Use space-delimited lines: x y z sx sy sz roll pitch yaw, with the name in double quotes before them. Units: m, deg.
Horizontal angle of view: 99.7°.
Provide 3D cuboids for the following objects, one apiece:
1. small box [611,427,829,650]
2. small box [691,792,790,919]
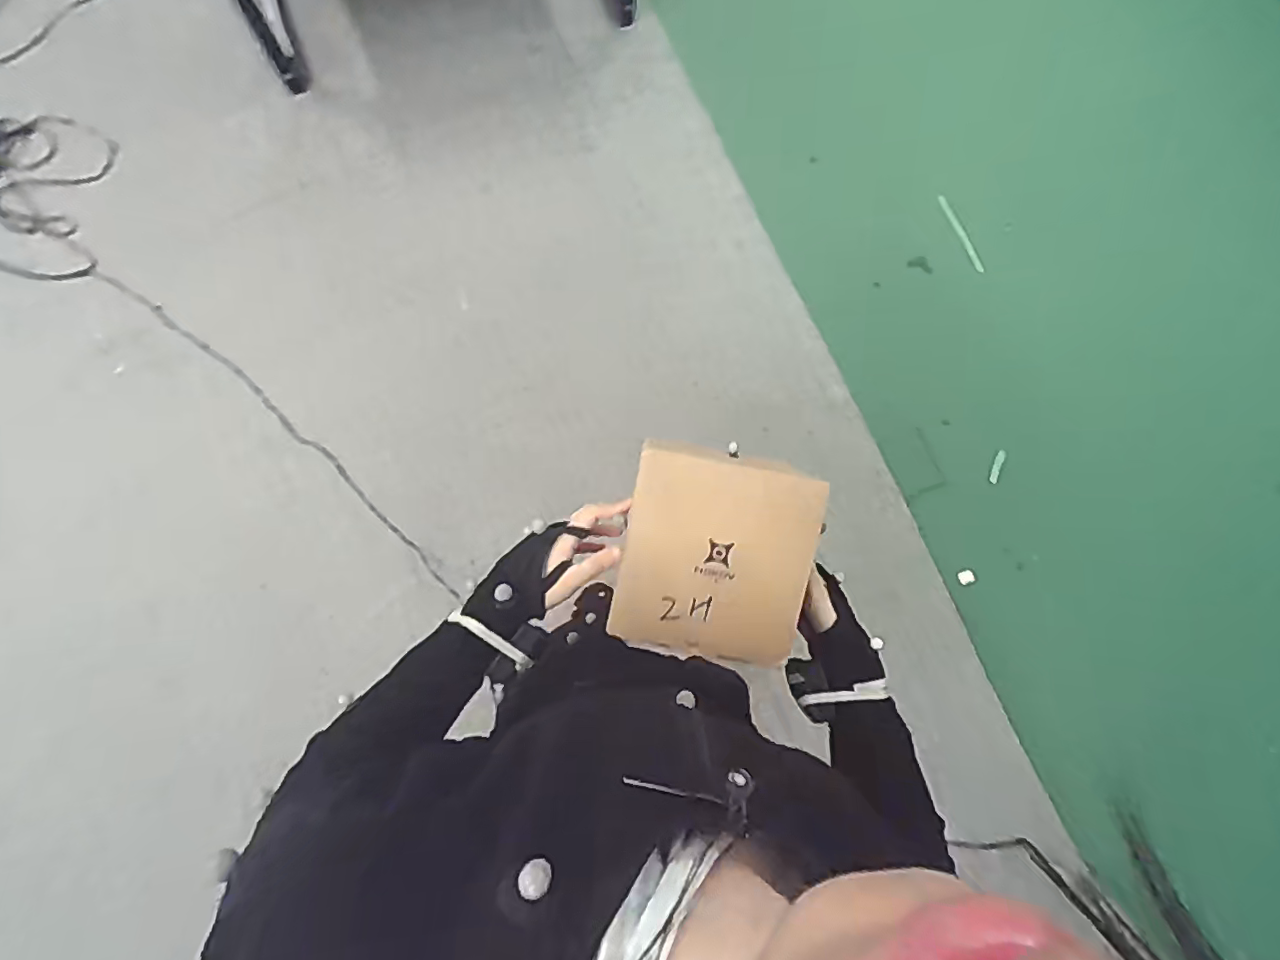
"small box" 0.070 0.045 0.555 0.168 0.176 0.179 11 97 0
"small box" 0.238 0.907 1.324 0.168 0.176 0.179 -16 80 -10
